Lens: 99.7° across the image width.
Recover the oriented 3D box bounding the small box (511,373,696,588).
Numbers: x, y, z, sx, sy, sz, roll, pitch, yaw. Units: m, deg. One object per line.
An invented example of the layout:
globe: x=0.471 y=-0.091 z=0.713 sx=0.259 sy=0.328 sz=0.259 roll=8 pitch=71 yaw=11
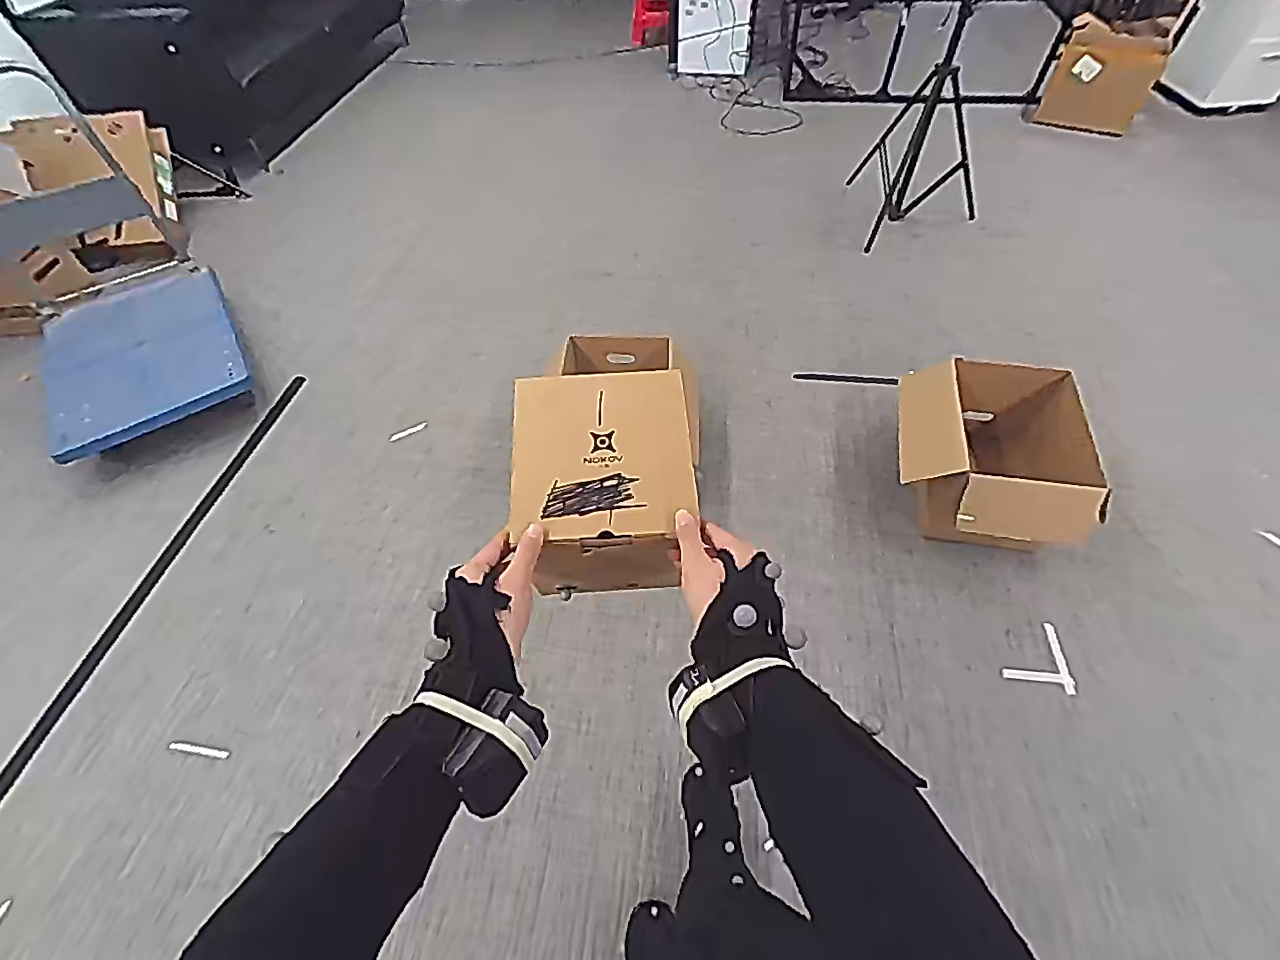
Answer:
small box: x=-0.035 y=0.011 z=0.574 sx=0.168 sy=0.176 sz=0.179 roll=-4 pitch=62 yaw=-2
